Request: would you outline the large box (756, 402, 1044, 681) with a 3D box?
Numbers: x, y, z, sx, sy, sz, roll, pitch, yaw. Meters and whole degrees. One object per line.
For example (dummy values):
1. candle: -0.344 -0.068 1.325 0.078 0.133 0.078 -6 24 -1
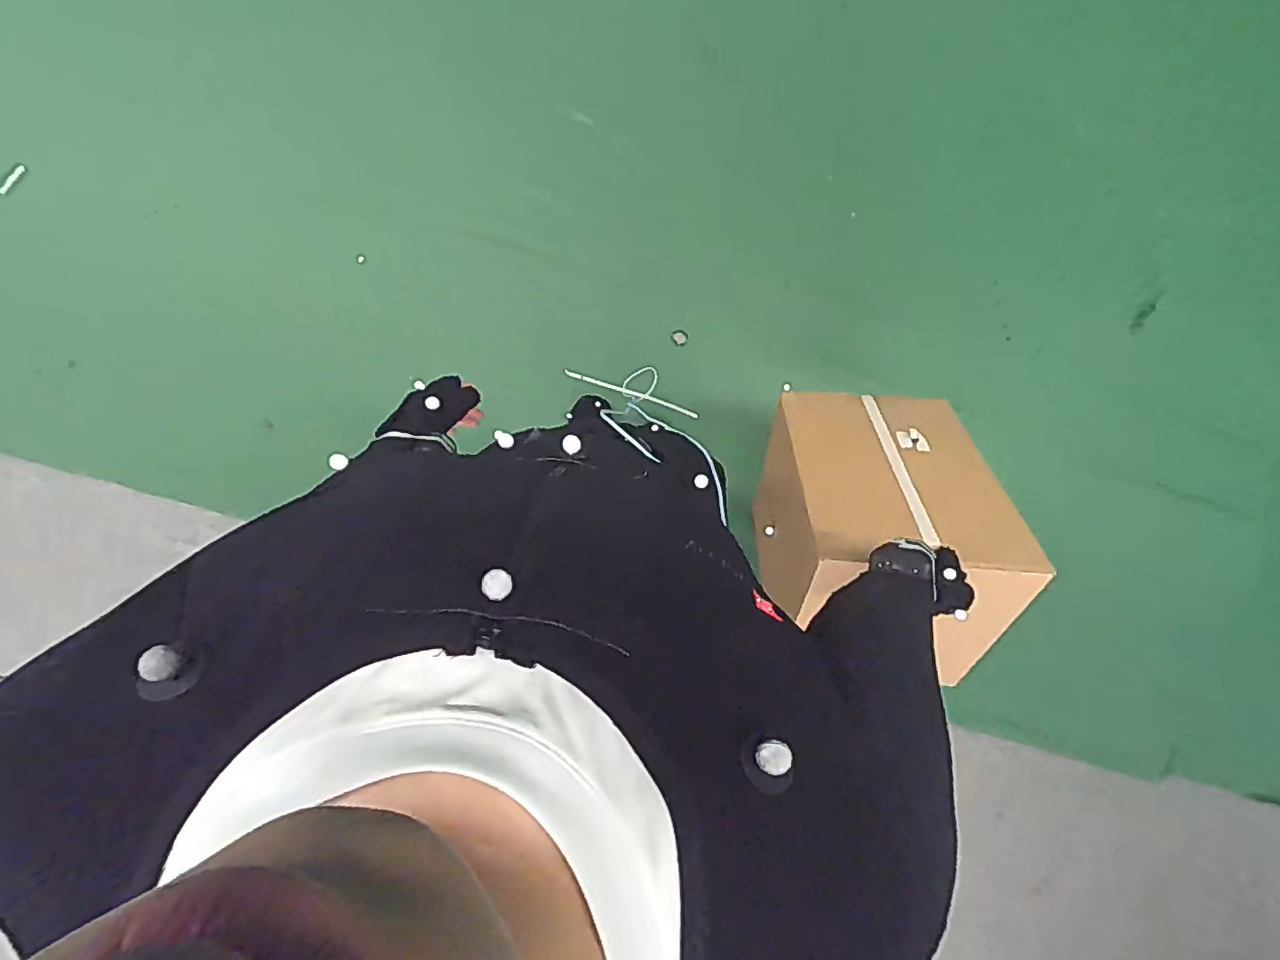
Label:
1. large box: 0.404 0.102 0.977 0.320 0.408 0.320 4 131 1
